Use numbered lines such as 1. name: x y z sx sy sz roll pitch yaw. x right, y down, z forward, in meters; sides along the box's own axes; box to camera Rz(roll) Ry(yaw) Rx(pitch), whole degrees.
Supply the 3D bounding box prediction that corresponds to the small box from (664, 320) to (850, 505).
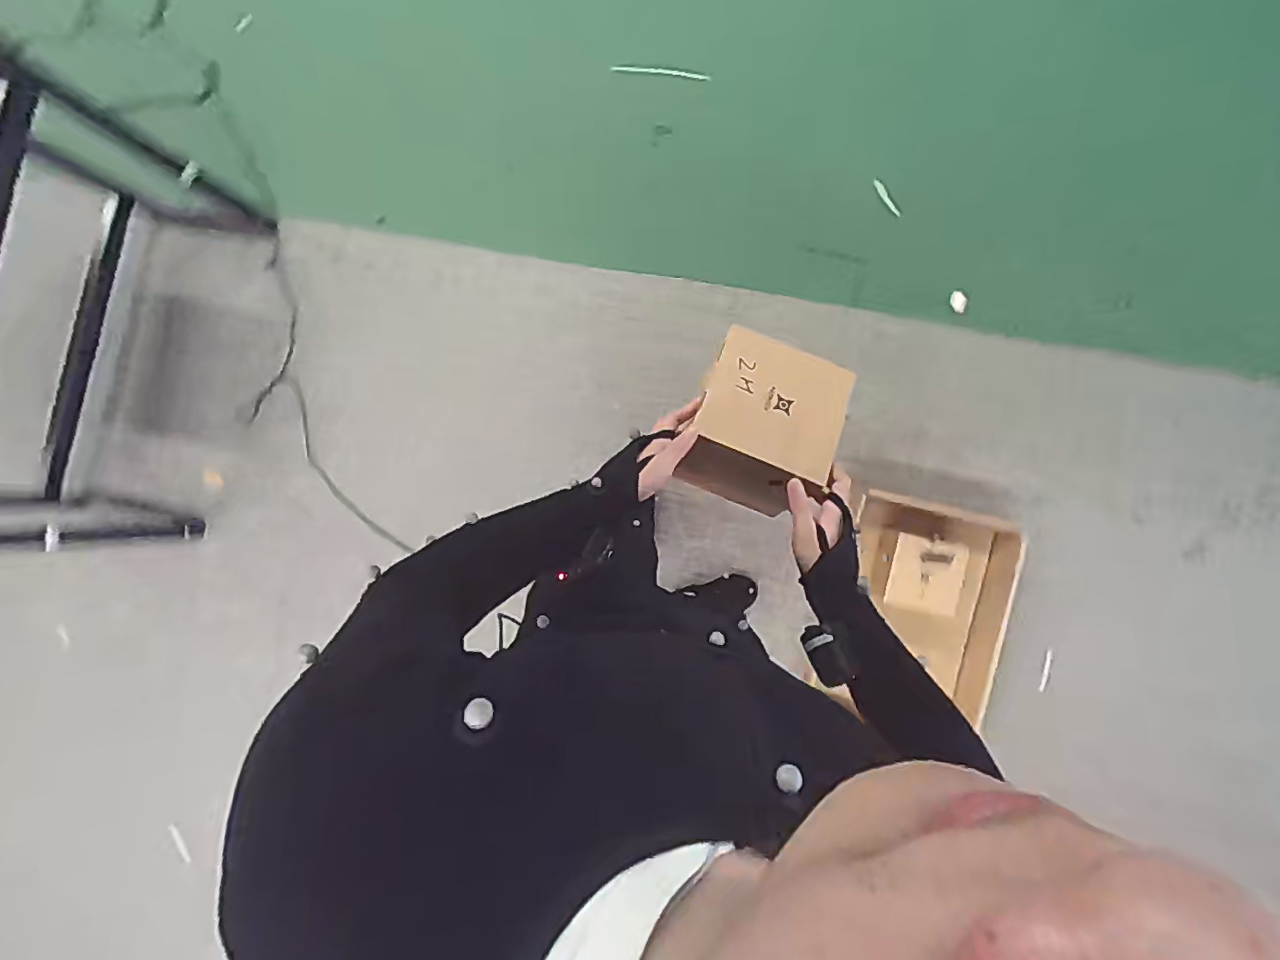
1. small box: 0.148 -0.077 0.731 0.179 0.176 0.168 21 72 0
